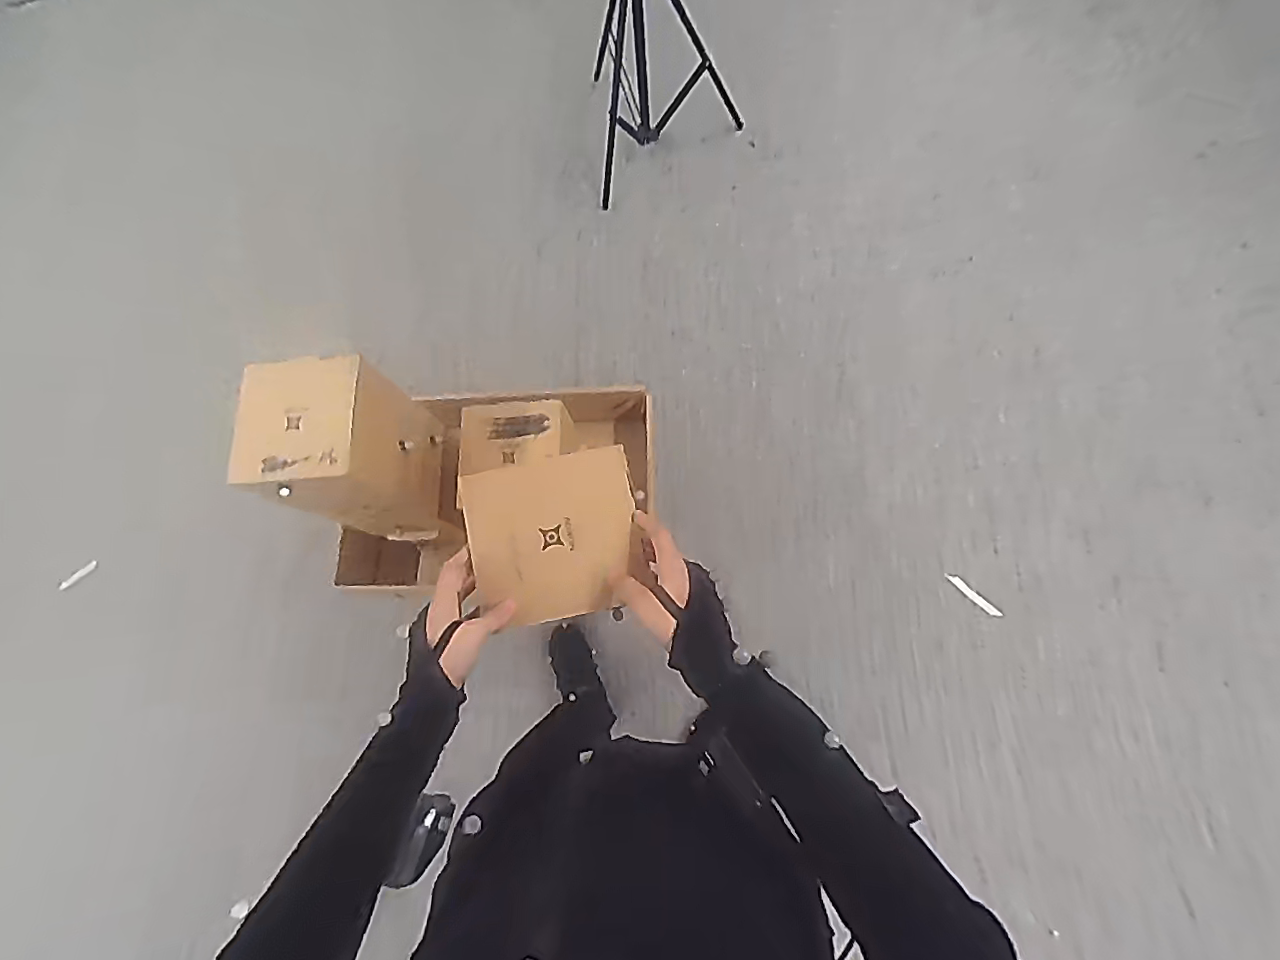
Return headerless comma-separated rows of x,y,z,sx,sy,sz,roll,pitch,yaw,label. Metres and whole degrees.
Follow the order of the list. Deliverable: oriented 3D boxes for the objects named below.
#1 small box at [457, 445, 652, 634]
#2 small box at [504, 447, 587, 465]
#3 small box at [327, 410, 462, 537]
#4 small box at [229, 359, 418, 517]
-0.091,0.073,0.626,0.179,0.176,0.168,-12,77,-4,small box
-0.173,0.044,1.083,0.168,0.176,0.179,0,74,6,small box
-0.423,-0.005,0.947,0.168,0.176,0.179,-4,73,4,small box
-0.444,-0.053,0.790,0.168,0.176,0.179,-4,72,4,small box
